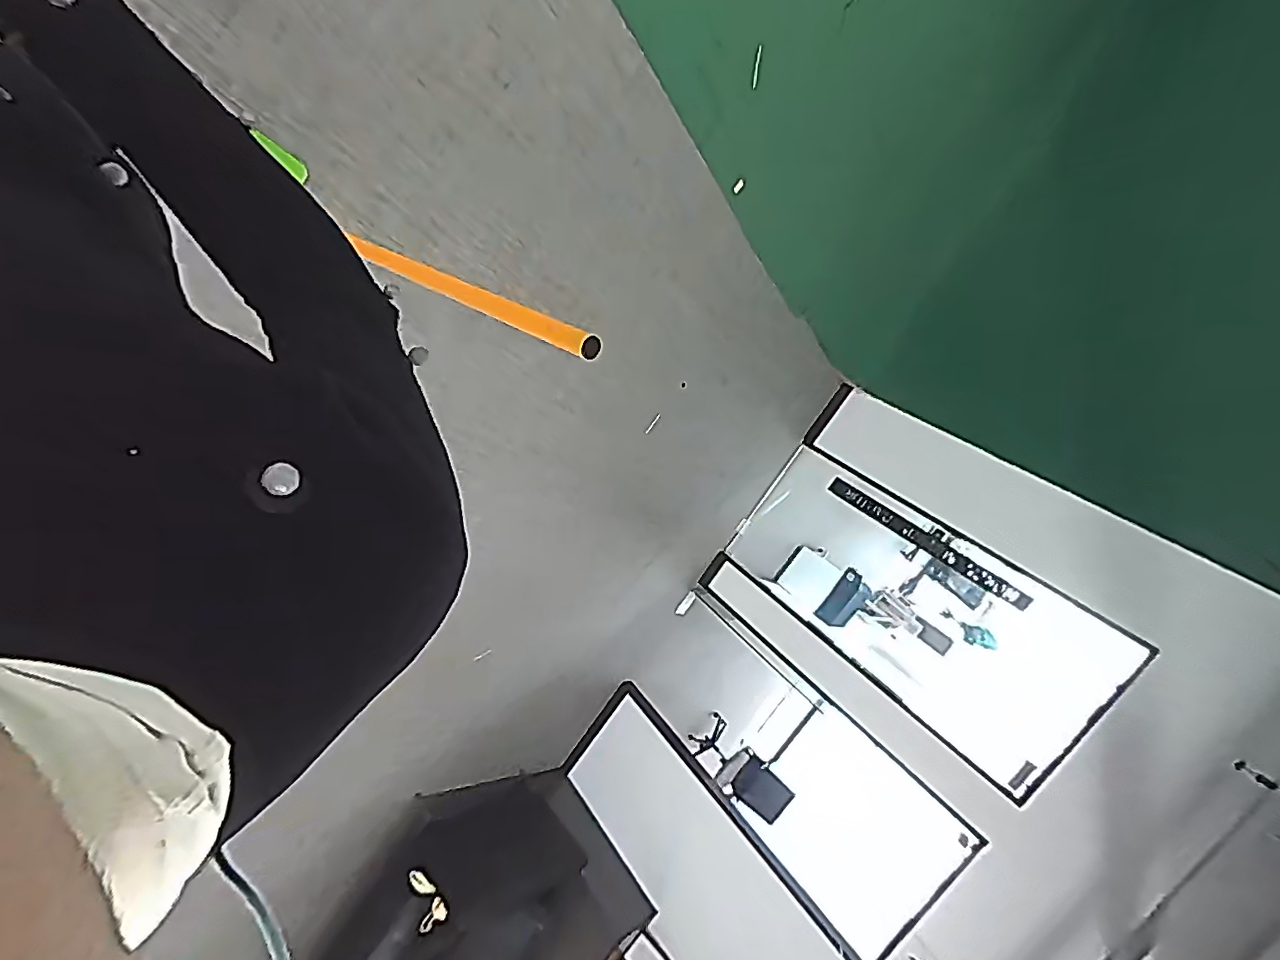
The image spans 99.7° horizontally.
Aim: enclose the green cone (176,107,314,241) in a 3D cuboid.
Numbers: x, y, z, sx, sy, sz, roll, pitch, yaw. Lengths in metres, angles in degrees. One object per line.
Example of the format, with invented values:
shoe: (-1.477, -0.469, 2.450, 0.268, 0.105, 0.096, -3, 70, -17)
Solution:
green cone: (-0.746, -0.570, 1.073, 0.200, 0.368, 0.202, -55, 143, 5)
